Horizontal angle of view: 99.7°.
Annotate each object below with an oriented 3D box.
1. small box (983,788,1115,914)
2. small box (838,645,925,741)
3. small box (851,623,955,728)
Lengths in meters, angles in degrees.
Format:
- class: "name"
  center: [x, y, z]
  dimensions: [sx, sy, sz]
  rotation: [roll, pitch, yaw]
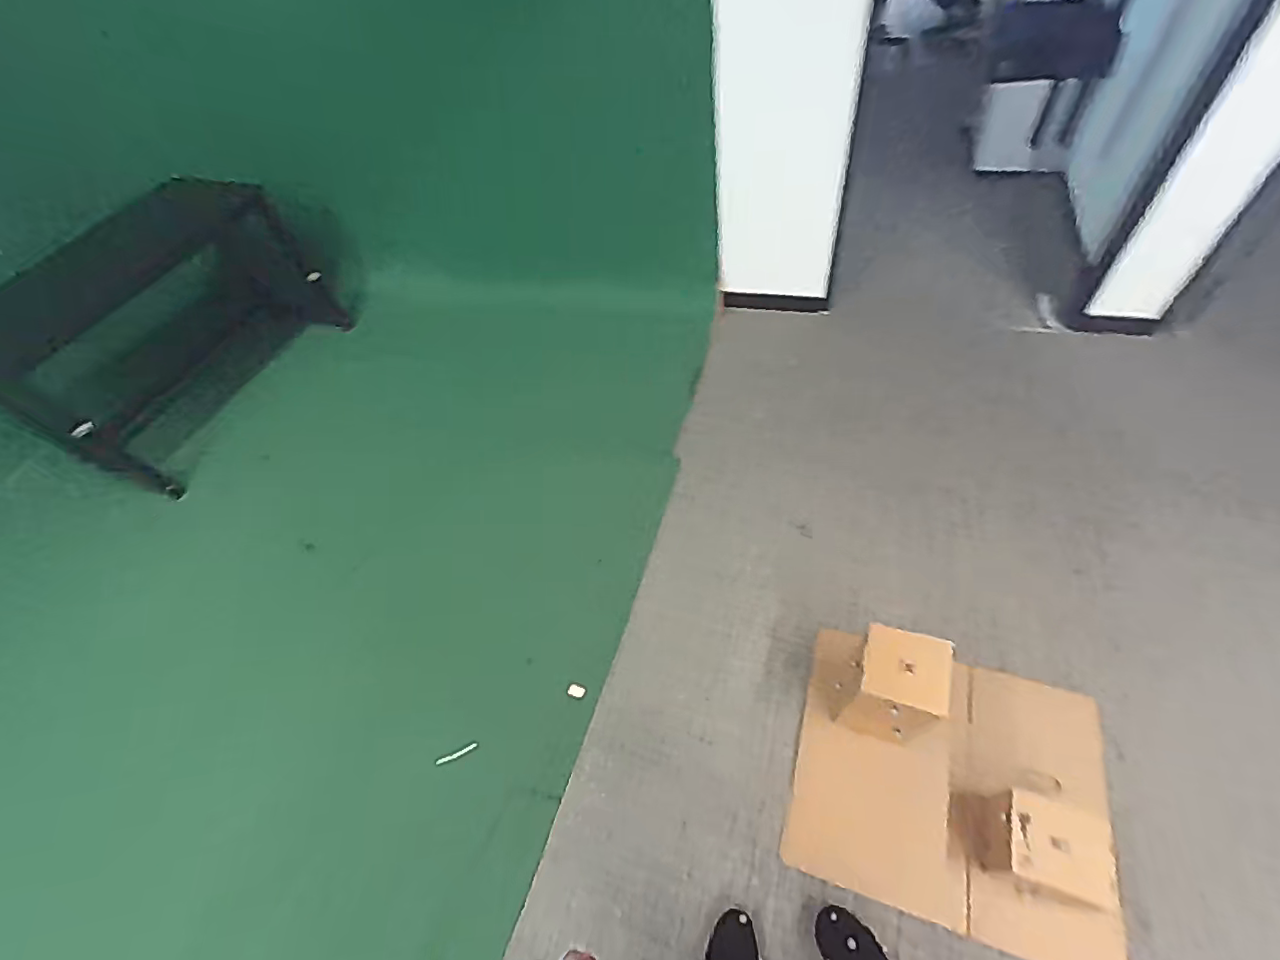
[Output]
- class: "small box"
  center: [0.875, 0.794, 1.167]
  dimensions: [0.179, 0.176, 0.168]
  rotation: [14, 58, 20]
- class: "small box"
  center: [0.621, 0.551, 1.386]
  dimensions: [0.179, 0.176, 0.168]
  rotation: [13, 57, 19]
- class: "small box"
  center: [0.604, 0.458, 1.254]
  dimensions: [0.179, 0.176, 0.168]
  rotation: [12, 58, 19]
